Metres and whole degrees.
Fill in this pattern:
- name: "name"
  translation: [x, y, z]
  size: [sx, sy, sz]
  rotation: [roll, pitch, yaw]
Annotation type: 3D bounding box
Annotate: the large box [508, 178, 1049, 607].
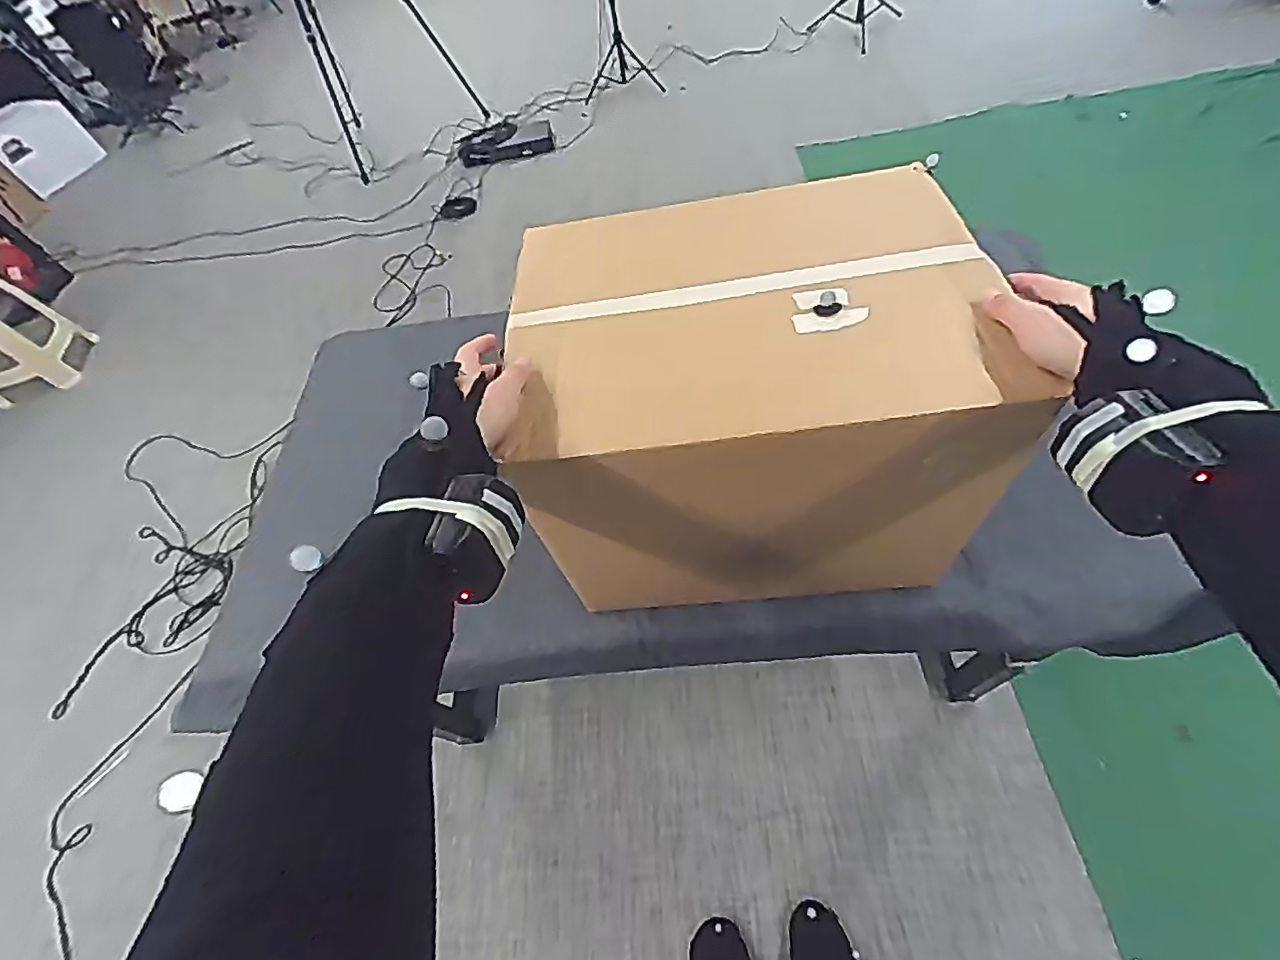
- name: "large box"
  translation: [0.106, -0.075, 0.600]
  size: [0.408, 0.320, 0.320]
  rotation: [-6, 55, 6]
